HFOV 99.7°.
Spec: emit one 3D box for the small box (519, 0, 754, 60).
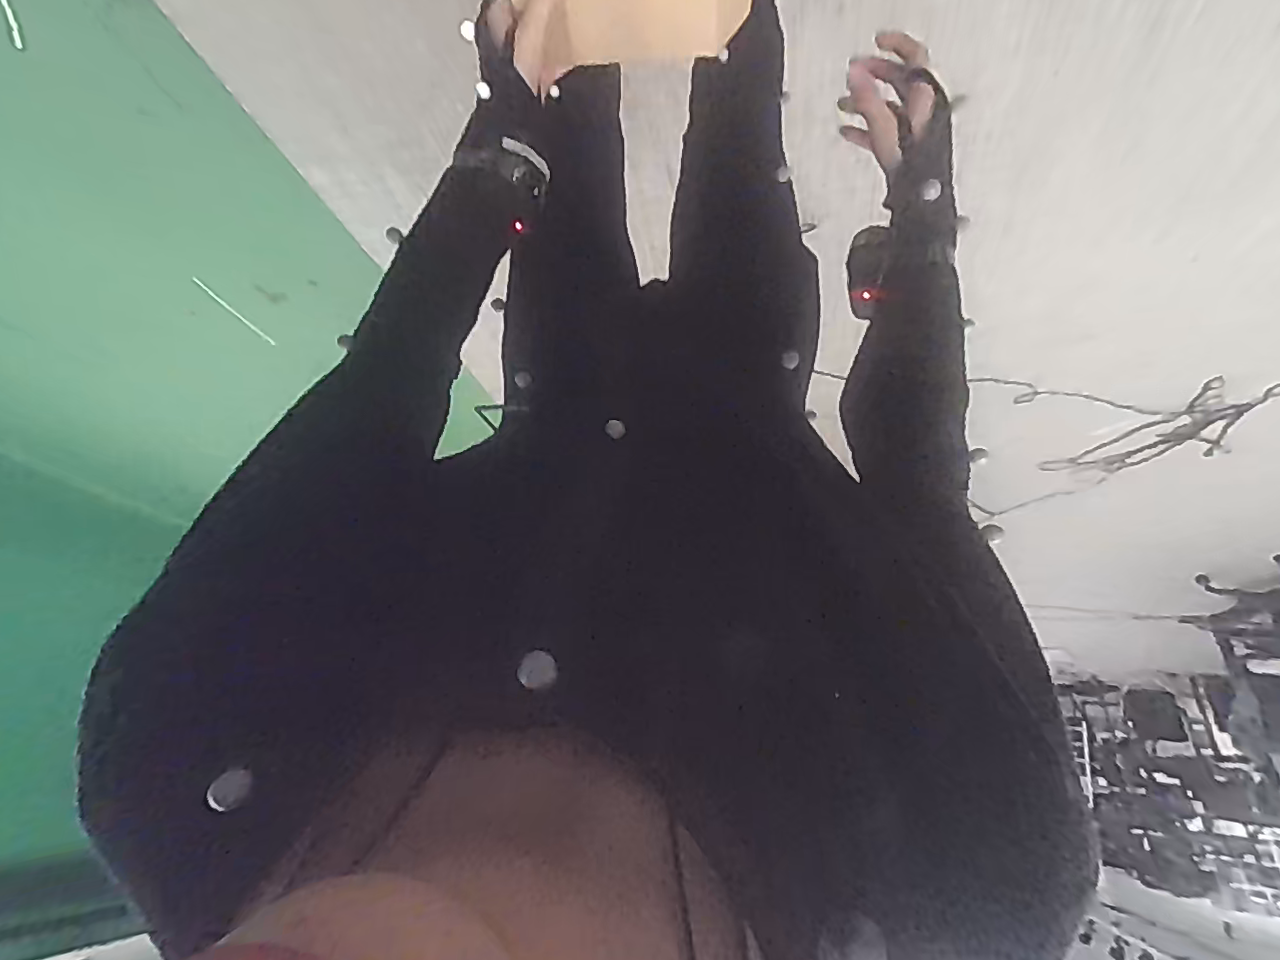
[{"bbox_3d":[0.002,-0.463,0.439,0.179,0.176,0.168,9,141,15],"label":"small box"}]
